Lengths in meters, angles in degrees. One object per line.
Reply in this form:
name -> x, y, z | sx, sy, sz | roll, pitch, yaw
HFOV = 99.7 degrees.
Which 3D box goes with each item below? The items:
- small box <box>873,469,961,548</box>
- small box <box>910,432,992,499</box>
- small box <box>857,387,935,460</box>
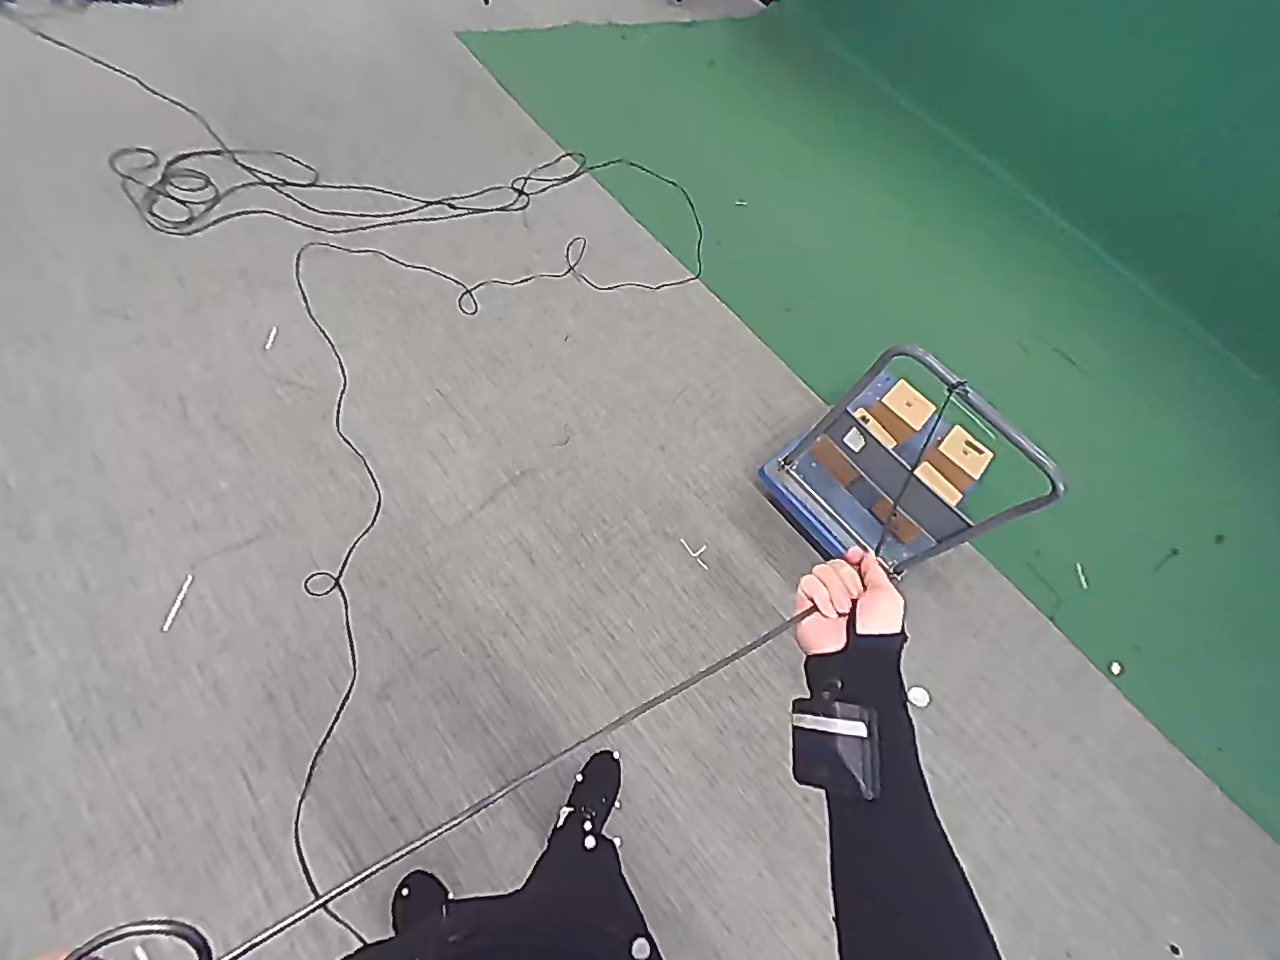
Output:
small box -> 0.924, 0.098, 1.819 | 0.179, 0.176, 0.168 | -33, 74, -29
small box -> 1.118, -0.034, 1.955 | 0.168, 0.176, 0.179 | 44, 59, 12
small box -> 0.941, -0.206, 2.004 | 0.168, 0.176, 0.179 | 45, 58, 11
